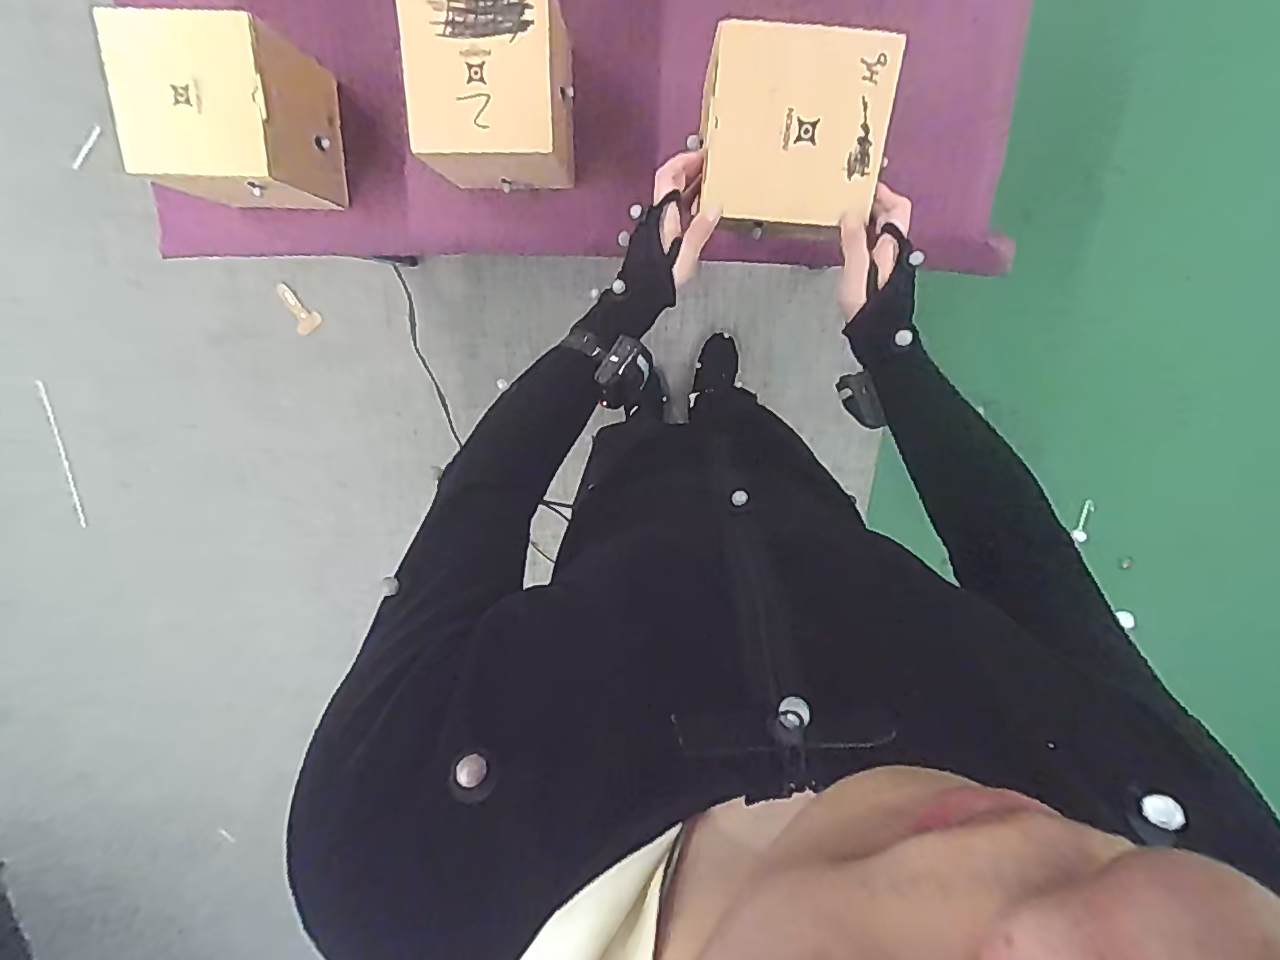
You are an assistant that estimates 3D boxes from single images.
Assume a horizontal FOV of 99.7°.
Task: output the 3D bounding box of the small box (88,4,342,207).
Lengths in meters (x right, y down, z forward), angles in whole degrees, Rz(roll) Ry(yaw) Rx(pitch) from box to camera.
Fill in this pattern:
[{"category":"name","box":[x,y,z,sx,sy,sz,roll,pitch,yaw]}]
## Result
[{"category":"small box","box":[-0.513,-0.452,0.680,0.179,0.176,0.168,2,105,1]}]
